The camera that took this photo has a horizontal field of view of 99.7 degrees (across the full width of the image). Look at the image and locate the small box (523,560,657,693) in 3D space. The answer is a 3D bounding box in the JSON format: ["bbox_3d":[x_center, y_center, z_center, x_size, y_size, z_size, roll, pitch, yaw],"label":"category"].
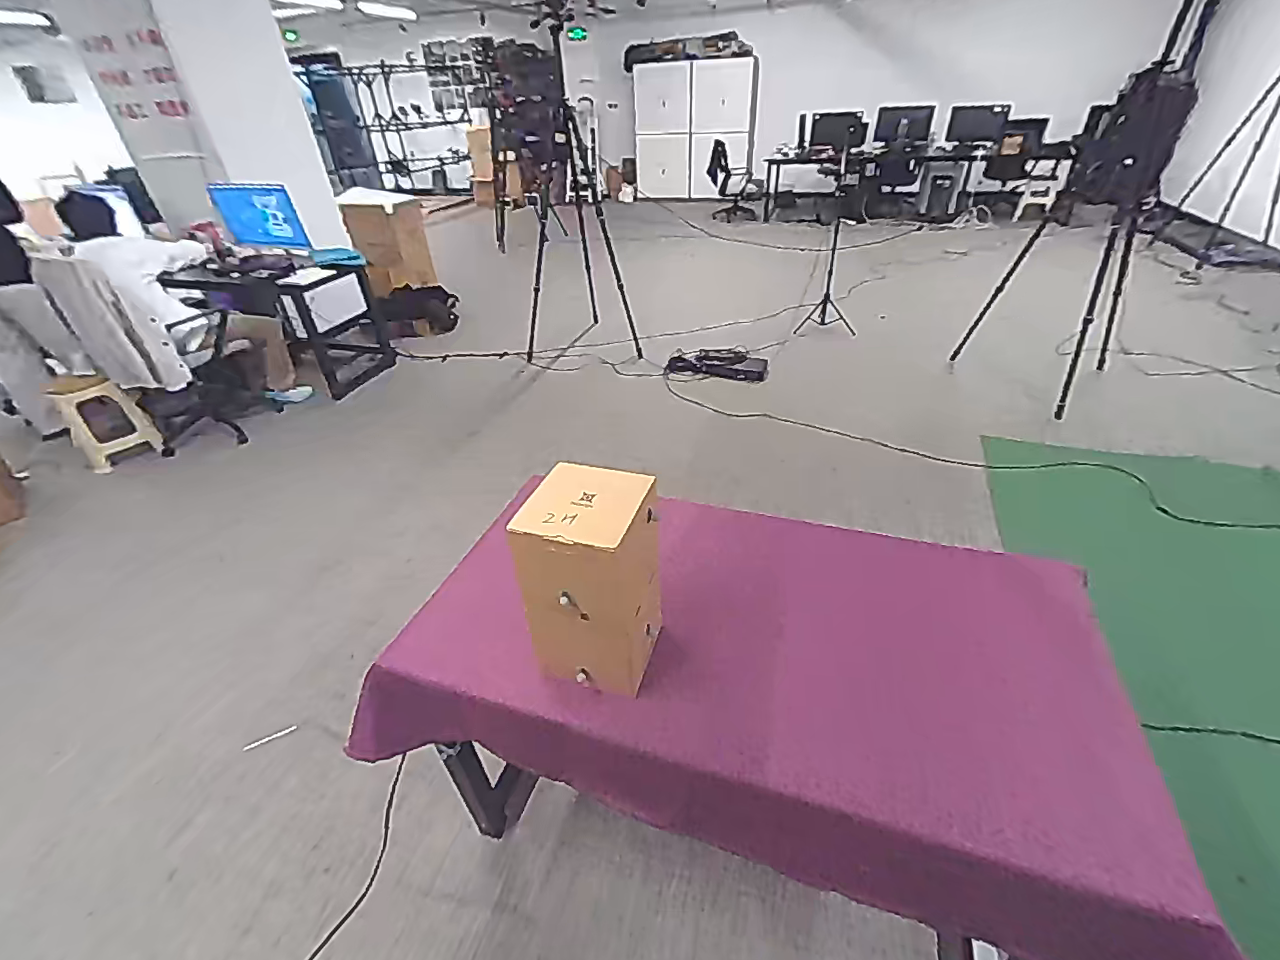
[{"bbox_3d":[-0.074,0.235,0.924,0.179,0.176,0.168,9,37,15],"label":"small box"}]

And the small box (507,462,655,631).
[{"bbox_3d":[-0.079,0.098,0.831,0.168,0.176,0.179,9,38,17],"label":"small box"}]
